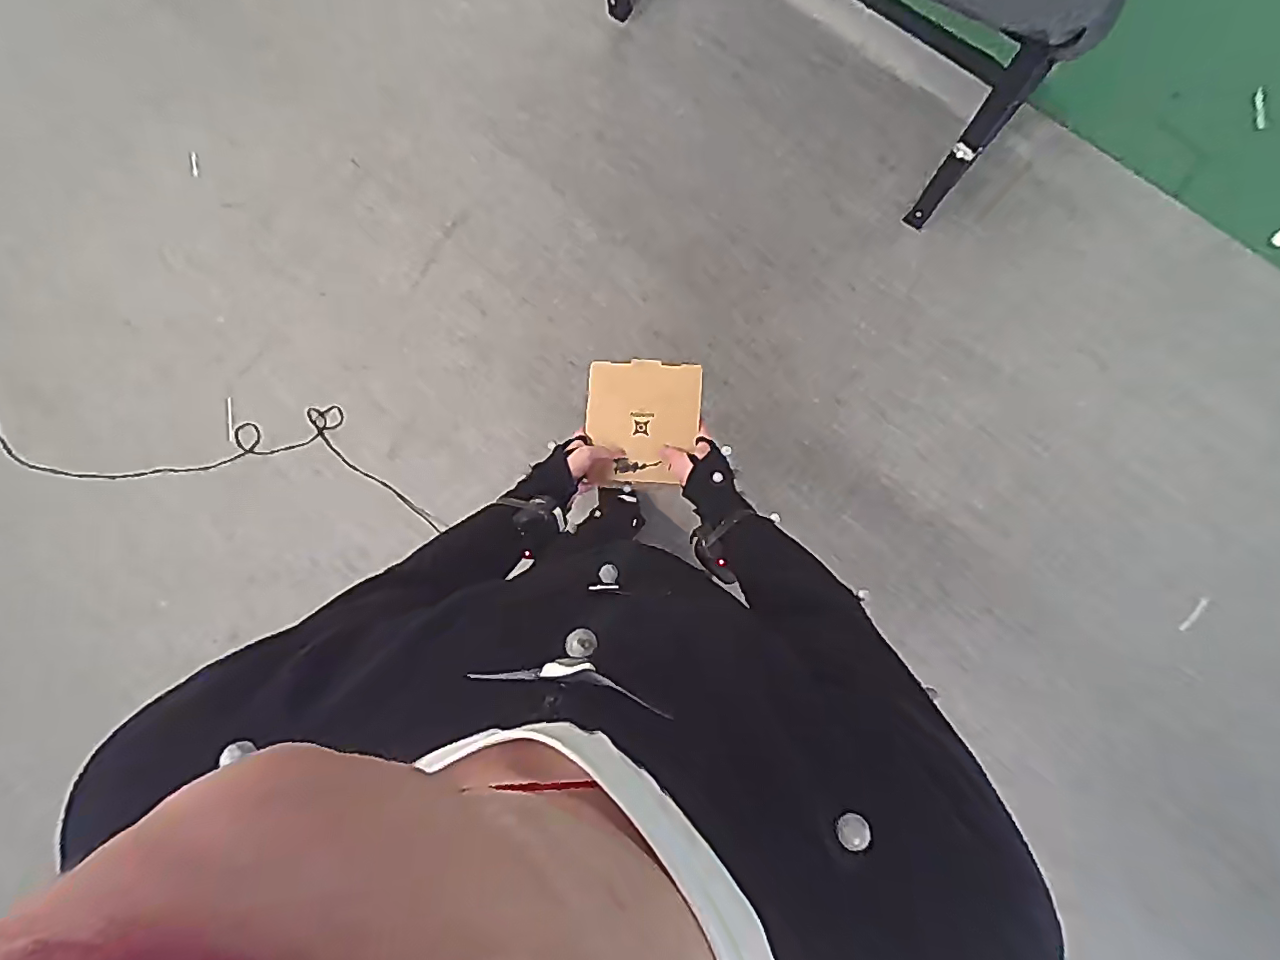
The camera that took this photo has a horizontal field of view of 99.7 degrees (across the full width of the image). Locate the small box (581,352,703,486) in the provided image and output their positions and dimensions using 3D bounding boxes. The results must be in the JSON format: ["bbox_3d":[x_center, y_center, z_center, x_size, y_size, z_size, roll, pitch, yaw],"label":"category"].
[{"bbox_3d":[0.008,-0.088,0.855,0.168,0.176,0.179,4,86,5],"label":"small box"}]
